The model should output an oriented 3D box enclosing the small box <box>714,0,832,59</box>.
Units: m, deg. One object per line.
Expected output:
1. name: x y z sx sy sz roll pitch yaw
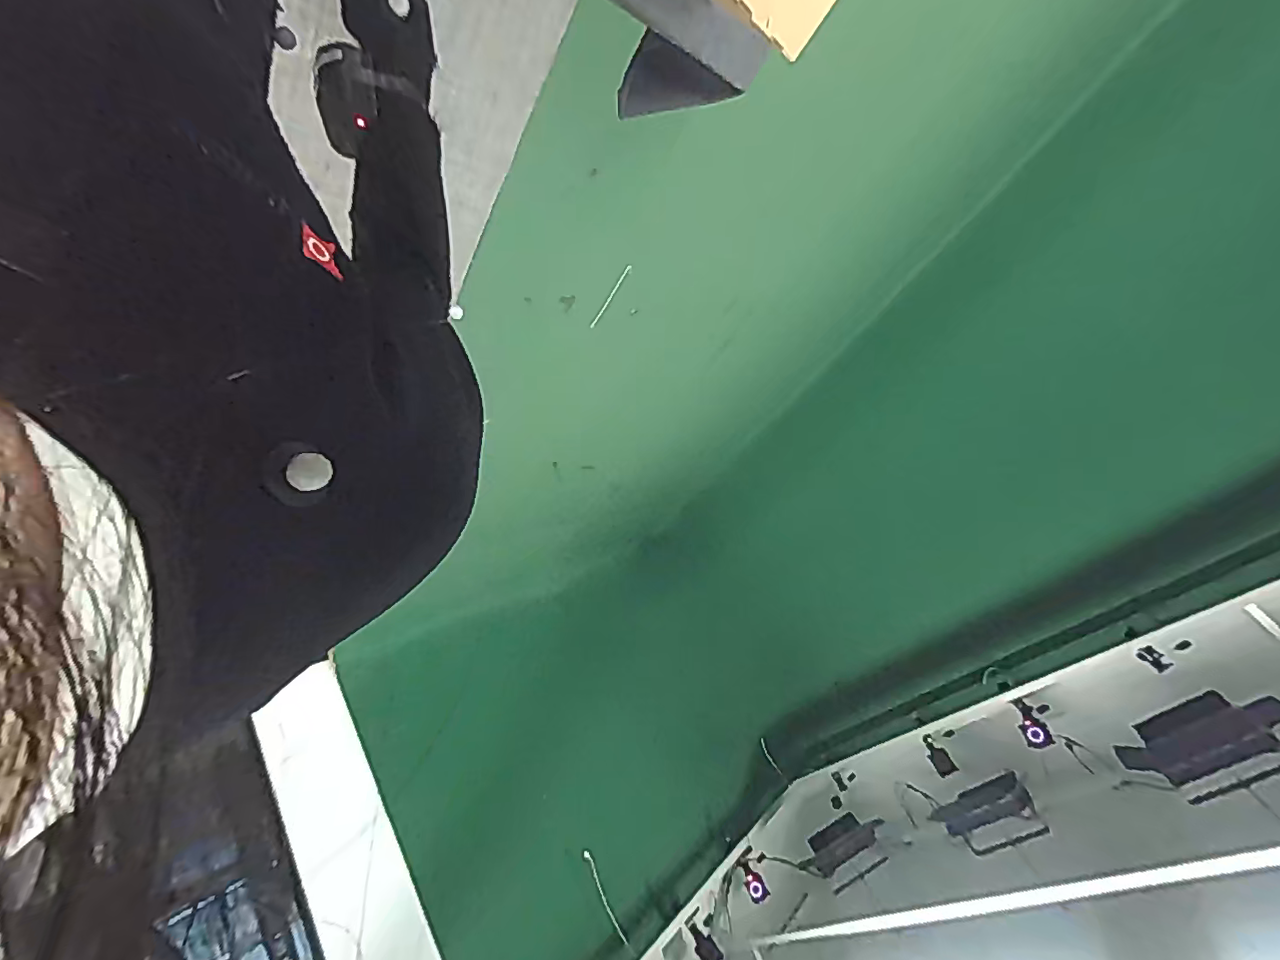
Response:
1. small box: 0.140 -0.630 0.591 0.168 0.176 0.179 -9 148 -50
